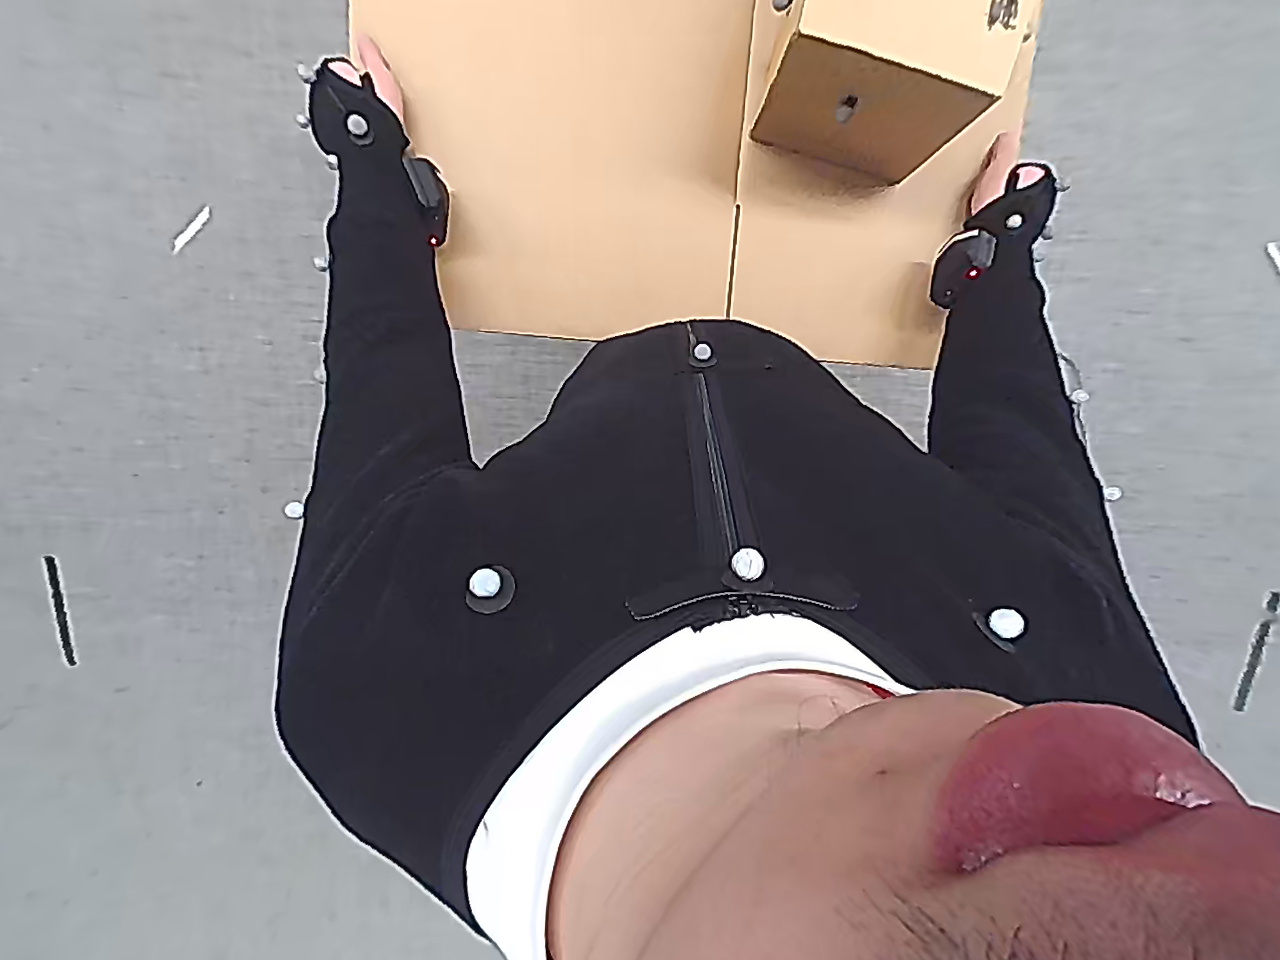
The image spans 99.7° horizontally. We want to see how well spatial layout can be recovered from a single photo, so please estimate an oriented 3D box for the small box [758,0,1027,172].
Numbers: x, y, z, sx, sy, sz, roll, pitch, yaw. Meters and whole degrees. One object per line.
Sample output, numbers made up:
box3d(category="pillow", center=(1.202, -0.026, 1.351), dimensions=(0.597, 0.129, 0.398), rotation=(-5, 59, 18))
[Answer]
box3d(category="small box", center=(0.223, -0.418, 0.498), dimensions=(0.179, 0.176, 0.168), rotation=(15, 98, -1))
